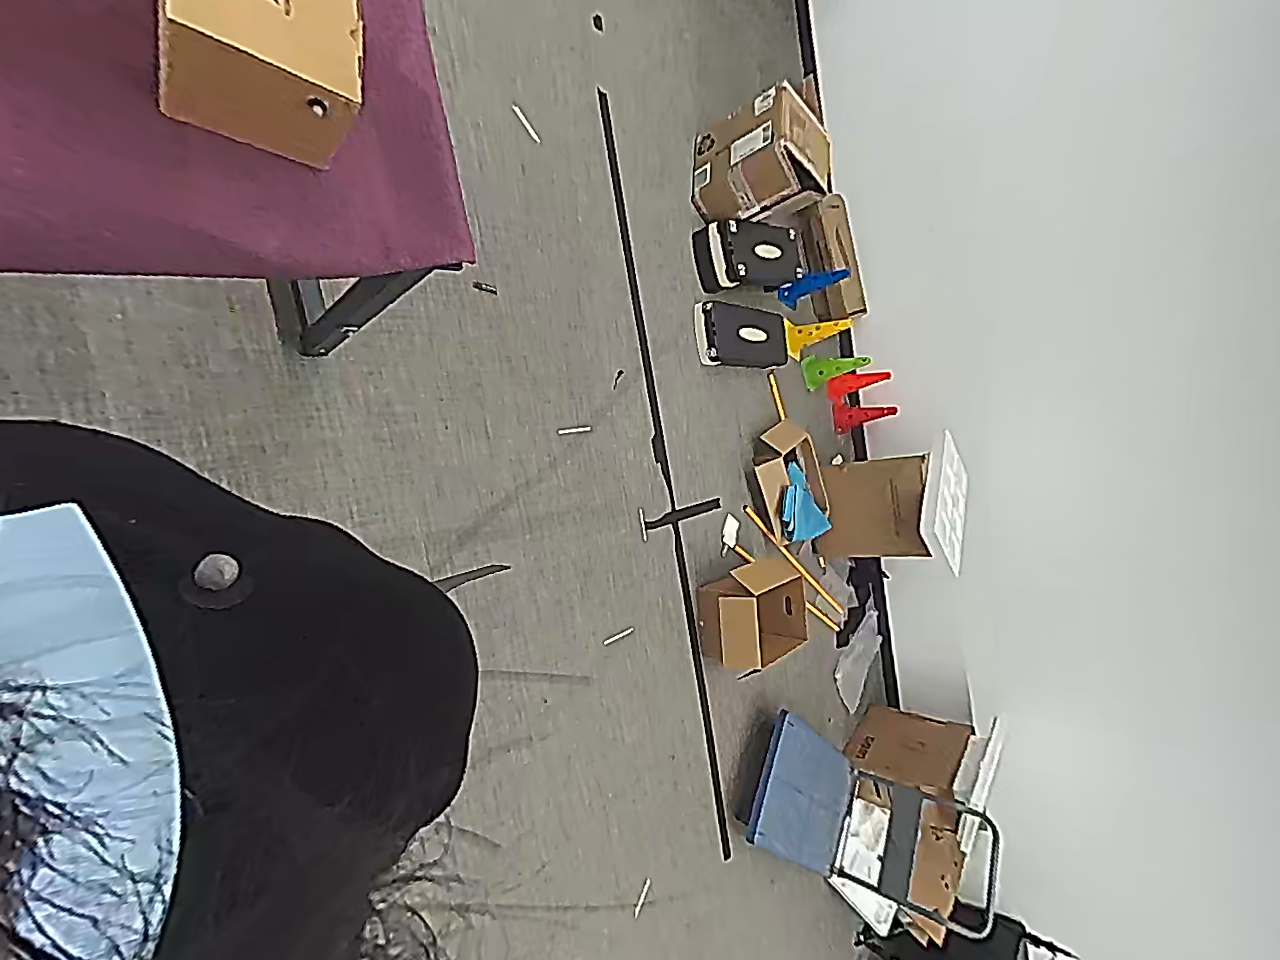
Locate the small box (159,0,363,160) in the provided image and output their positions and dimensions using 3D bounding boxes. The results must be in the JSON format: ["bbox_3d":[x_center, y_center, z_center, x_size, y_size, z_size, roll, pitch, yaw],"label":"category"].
[{"bbox_3d":[-0.446,-0.517,0.634,0.179,0.176,0.168,-1,87,-45],"label":"small box"}]
